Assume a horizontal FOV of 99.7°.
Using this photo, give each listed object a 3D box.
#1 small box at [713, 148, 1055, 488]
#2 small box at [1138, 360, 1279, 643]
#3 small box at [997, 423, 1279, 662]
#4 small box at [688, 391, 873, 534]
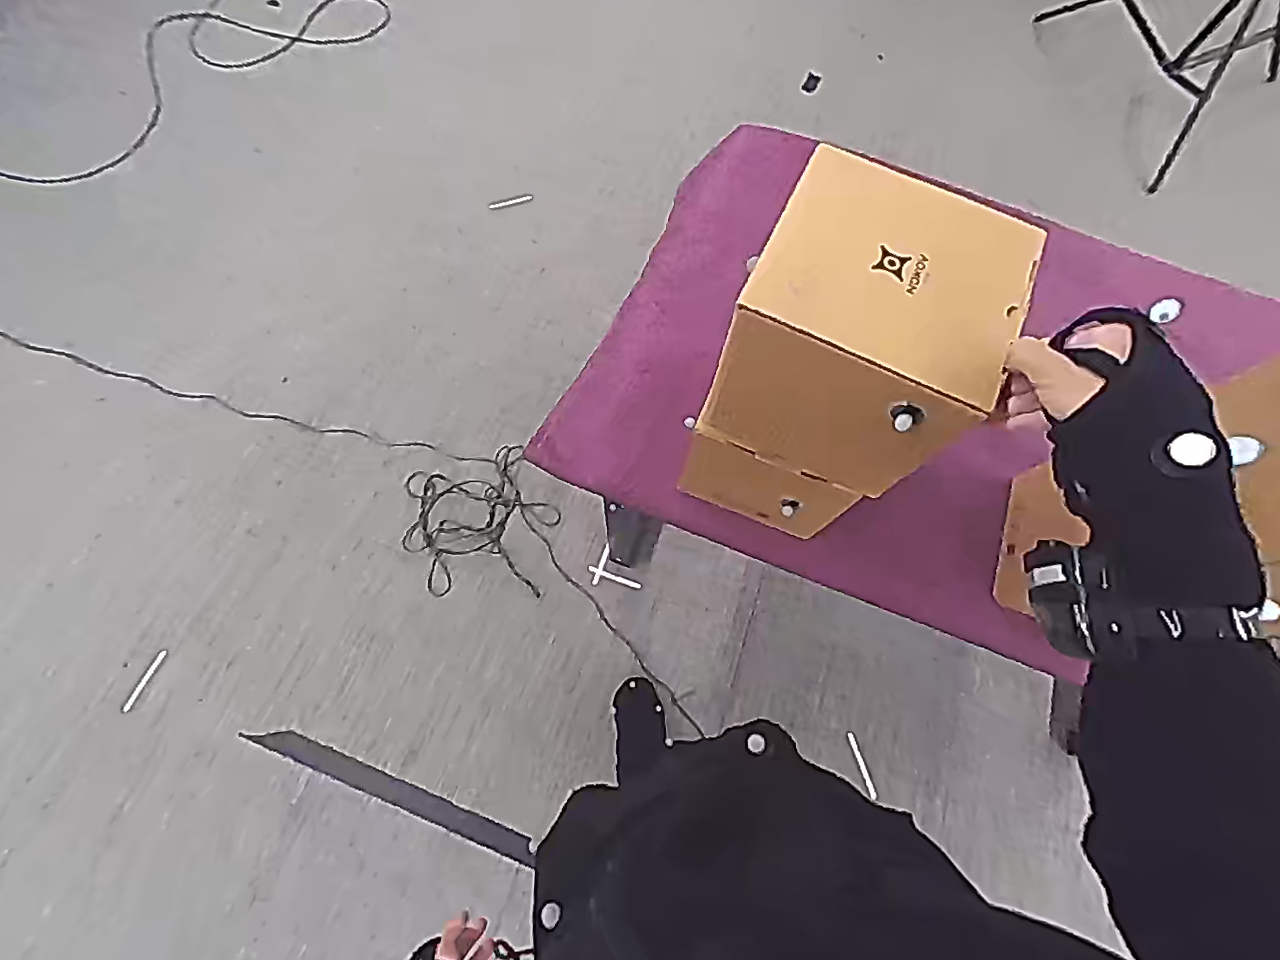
[{"bbox_3d":[0.175,-0.114,0.437,0.179,0.176,0.168,25,71,6],"label":"small box"},{"bbox_3d":[0.520,0.023,0.394,0.168,0.176,0.179,22,71,6],"label":"small box"},{"bbox_3d":[0.514,0.072,0.551,0.179,0.176,0.168,22,71,6],"label":"small box"},{"bbox_3d":[0.158,-0.060,0.589,0.168,0.176,0.179,22,70,5],"label":"small box"}]
